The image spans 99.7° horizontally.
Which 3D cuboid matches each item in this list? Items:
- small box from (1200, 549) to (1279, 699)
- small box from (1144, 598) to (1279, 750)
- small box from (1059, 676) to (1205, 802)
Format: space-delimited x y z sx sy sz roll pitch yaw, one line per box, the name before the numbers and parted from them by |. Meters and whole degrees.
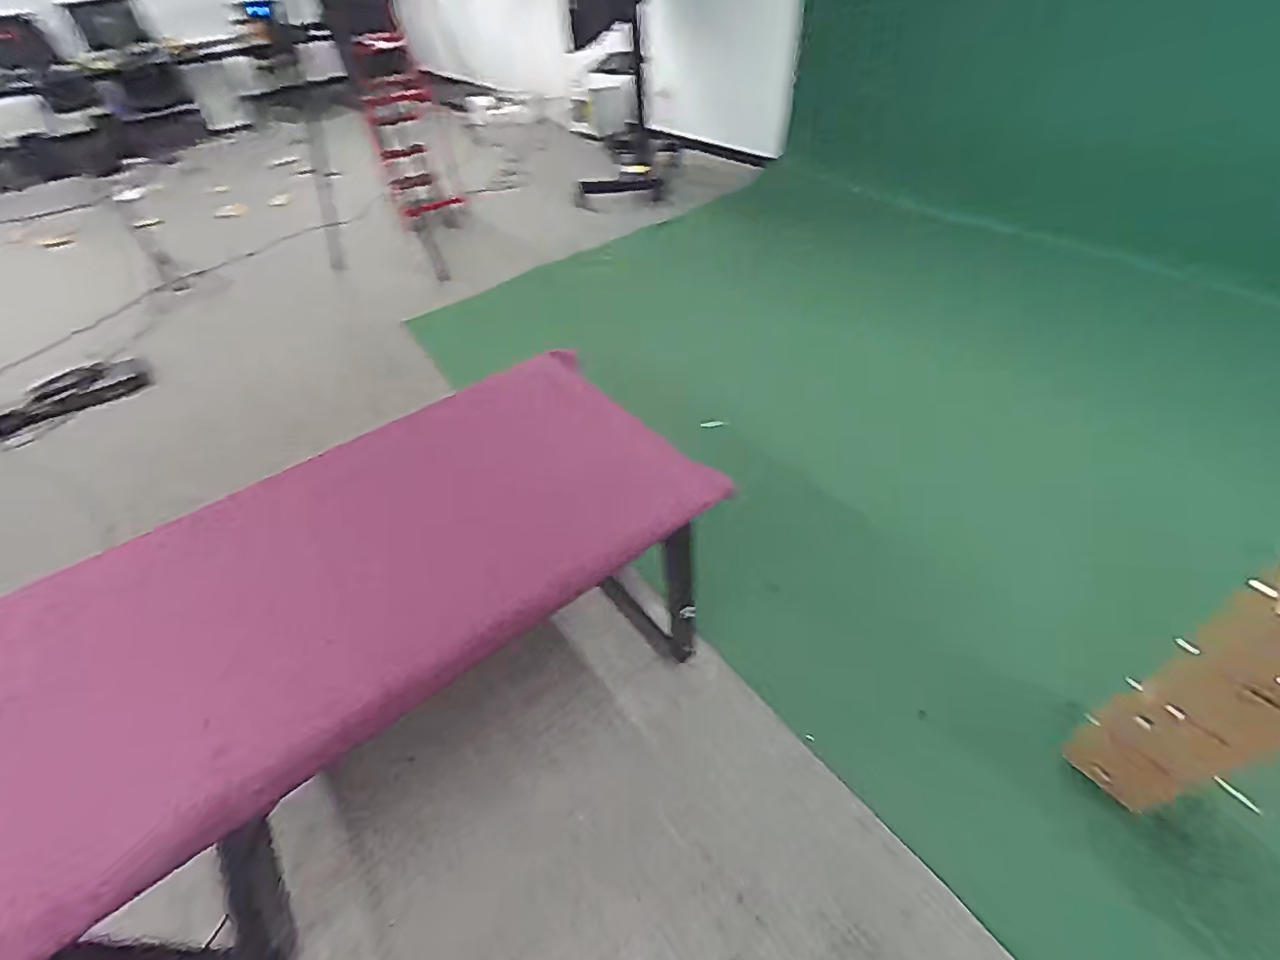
small box | 1.100 0.247 0.900 0.168 0.176 0.179 34 58 32
small box | 1.106 0.366 1.014 0.179 0.176 0.168 -36 54 -27
small box | 1.121 0.598 1.247 0.179 0.176 0.168 -33 52 -22
